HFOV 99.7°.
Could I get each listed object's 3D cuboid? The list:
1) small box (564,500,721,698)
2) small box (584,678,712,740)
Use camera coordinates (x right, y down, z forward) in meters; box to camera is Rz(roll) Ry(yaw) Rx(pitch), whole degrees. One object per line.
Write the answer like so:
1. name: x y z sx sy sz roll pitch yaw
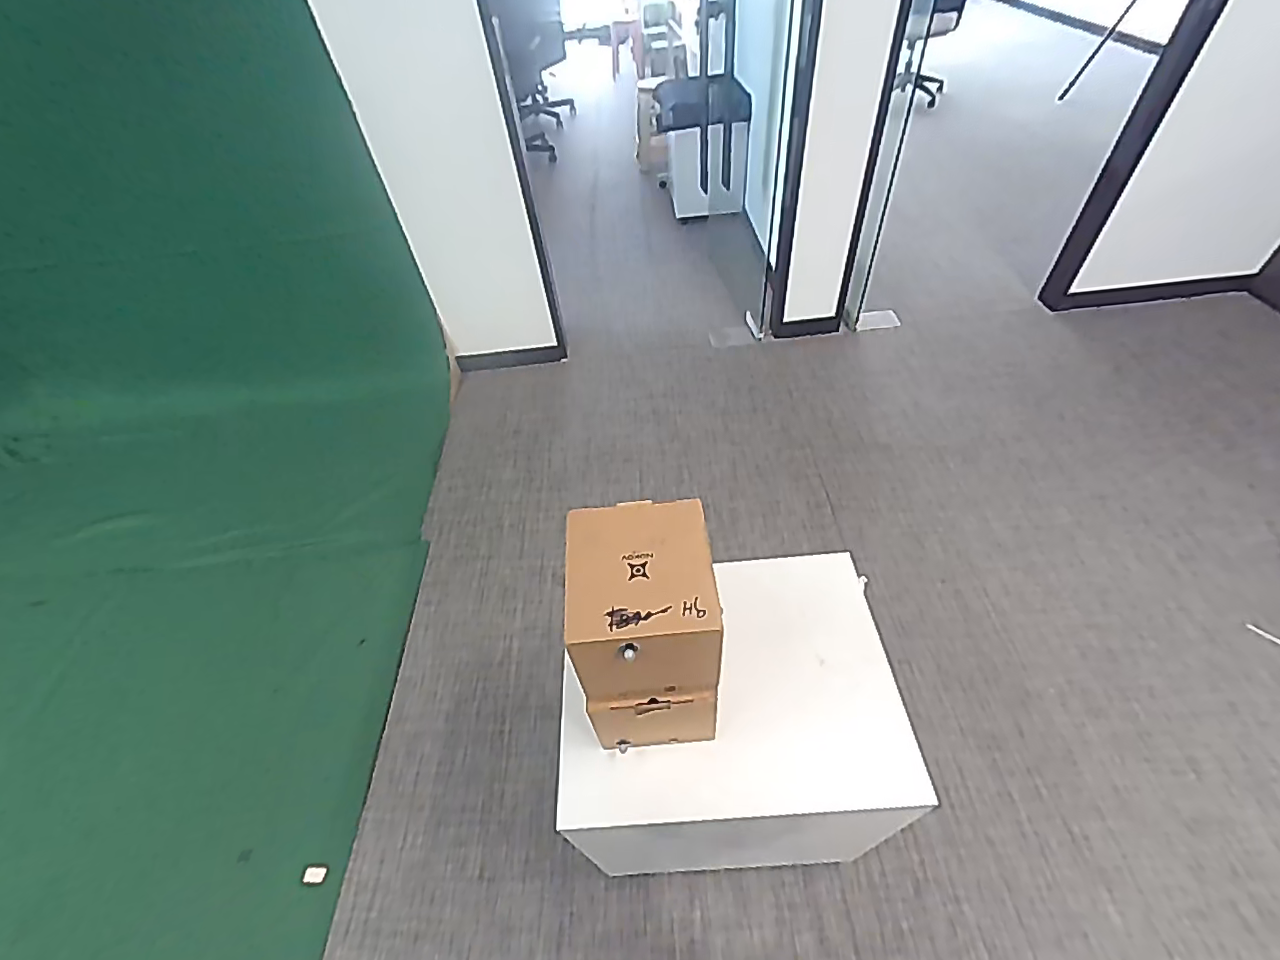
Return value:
1. small box: 0.004 0.149 0.672 0.168 0.176 0.179 -6 48 2
2. small box: 0.014 0.264 0.787 0.168 0.176 0.179 -5 48 1
